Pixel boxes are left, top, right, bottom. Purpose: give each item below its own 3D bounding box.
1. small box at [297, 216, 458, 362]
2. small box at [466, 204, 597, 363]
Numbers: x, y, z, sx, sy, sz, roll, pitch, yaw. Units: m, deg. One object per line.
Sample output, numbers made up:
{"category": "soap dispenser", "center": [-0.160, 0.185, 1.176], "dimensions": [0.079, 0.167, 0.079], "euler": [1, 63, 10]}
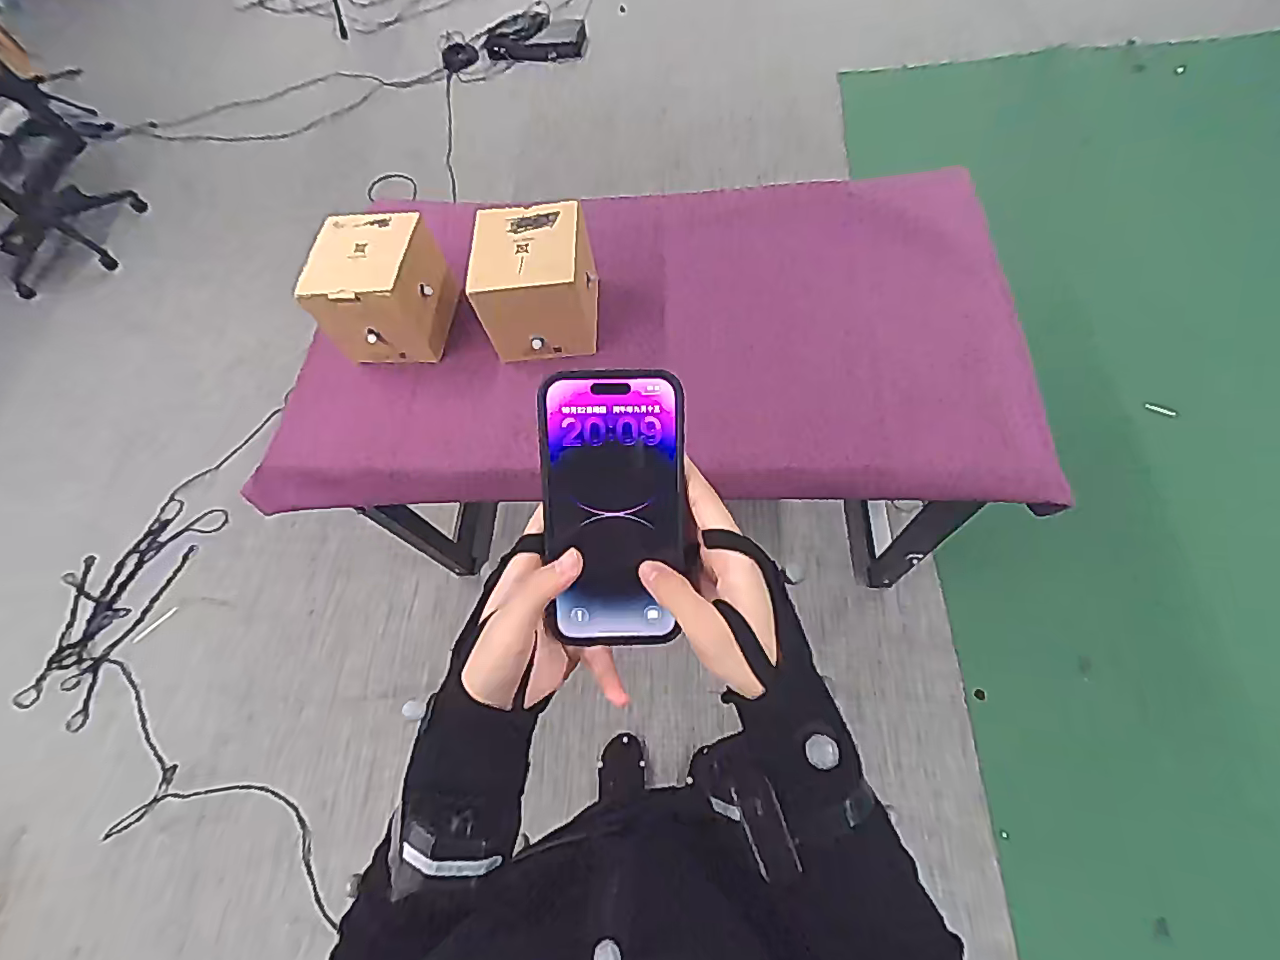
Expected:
{"category": "small box", "center": [-0.434, -0.318, 0.928], "dimensions": [0.168, 0.176, 0.179], "euler": [1, 65, 8]}
{"category": "small box", "center": [-0.167, -0.318, 0.893], "dimensions": [0.168, 0.176, 0.179], "euler": [-4, 64, 6]}
